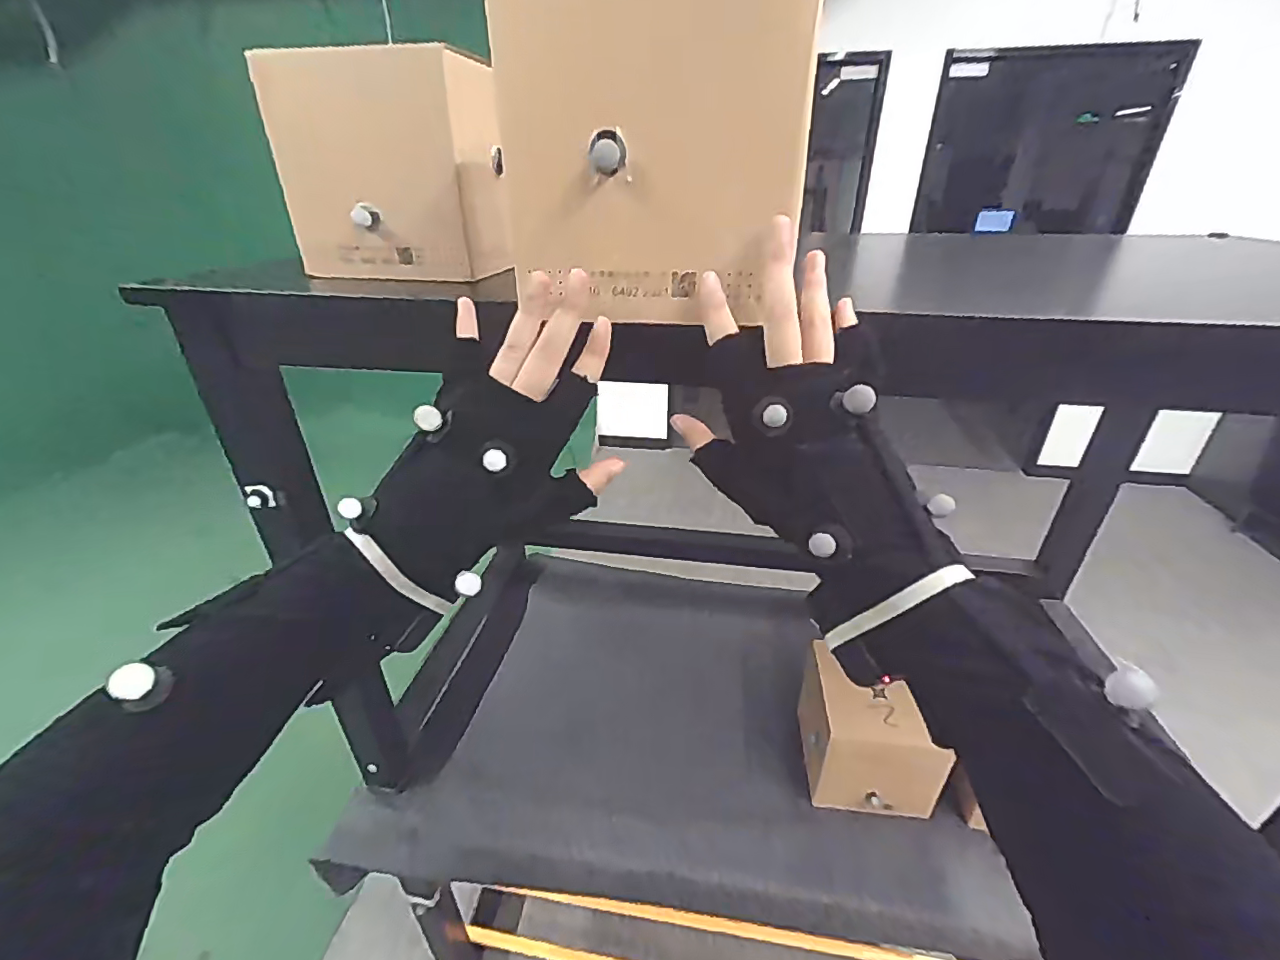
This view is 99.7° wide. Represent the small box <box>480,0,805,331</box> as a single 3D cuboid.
[{"bbox_3d":[0.012,-0.204,0.372,0.168,0.176,0.179,3,29,6],"label":"small box"}]

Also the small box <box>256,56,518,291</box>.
[{"bbox_3d":[-0.210,-0.288,0.522,0.168,0.176,0.179,5,30,9],"label":"small box"}]
